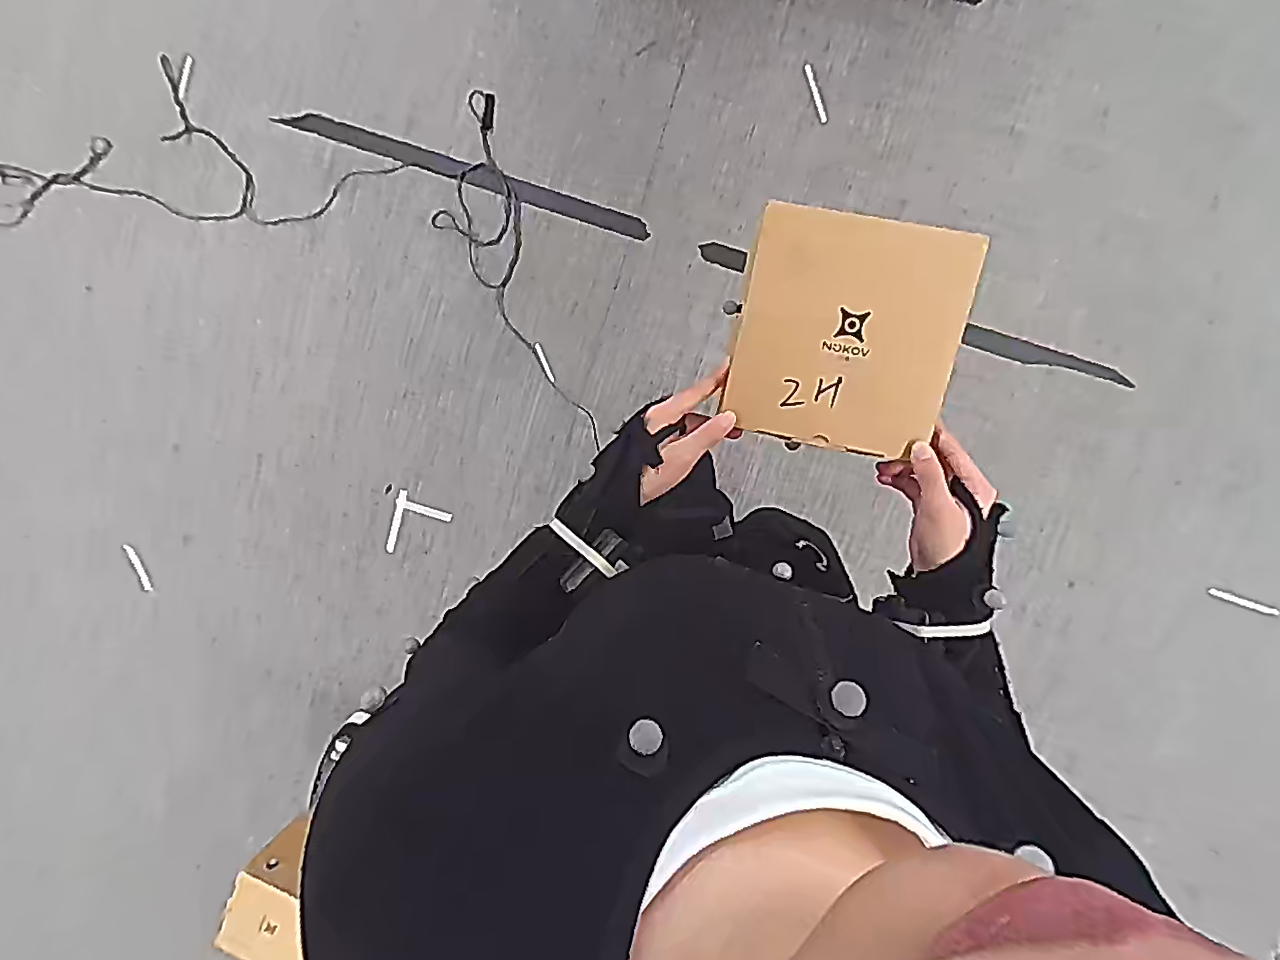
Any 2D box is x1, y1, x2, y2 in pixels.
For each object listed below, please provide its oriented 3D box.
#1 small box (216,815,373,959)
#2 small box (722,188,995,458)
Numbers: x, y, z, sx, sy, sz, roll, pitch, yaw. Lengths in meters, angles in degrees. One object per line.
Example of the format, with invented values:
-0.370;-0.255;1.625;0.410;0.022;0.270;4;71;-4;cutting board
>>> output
-0.663;0.804;1.059;0.179;0.176;0.168;22;96;4;small box
0.172;-0.129;0.489;0.168;0.176;0.179;13;100;5;small box
